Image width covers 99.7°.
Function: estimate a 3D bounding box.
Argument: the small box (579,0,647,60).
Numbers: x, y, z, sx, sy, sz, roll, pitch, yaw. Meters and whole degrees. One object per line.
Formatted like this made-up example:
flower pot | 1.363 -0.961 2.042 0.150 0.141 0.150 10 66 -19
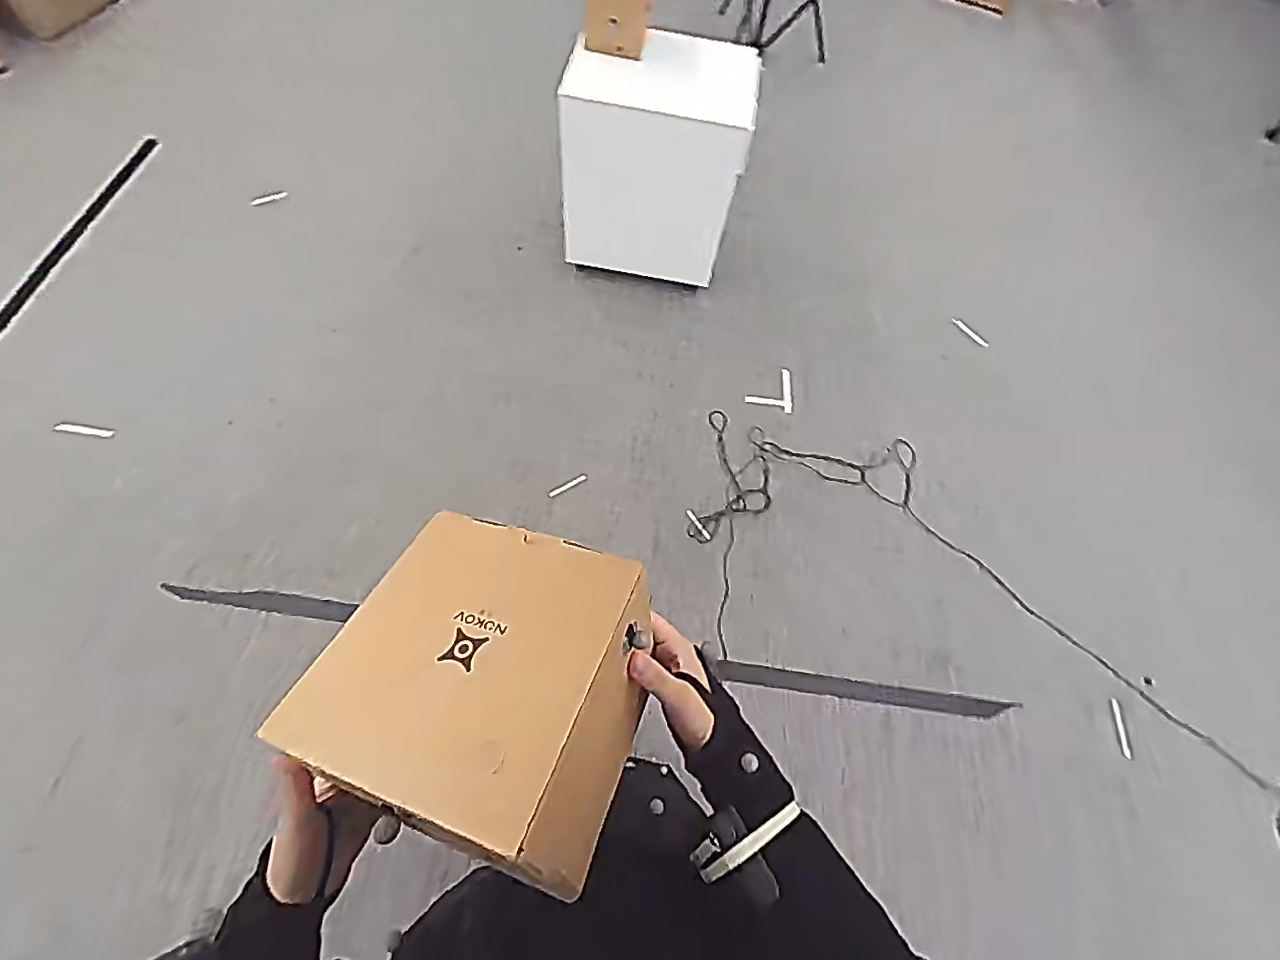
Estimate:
small box | -0.071 -1.290 1.472 0.168 0.176 0.179 10 66 -2
